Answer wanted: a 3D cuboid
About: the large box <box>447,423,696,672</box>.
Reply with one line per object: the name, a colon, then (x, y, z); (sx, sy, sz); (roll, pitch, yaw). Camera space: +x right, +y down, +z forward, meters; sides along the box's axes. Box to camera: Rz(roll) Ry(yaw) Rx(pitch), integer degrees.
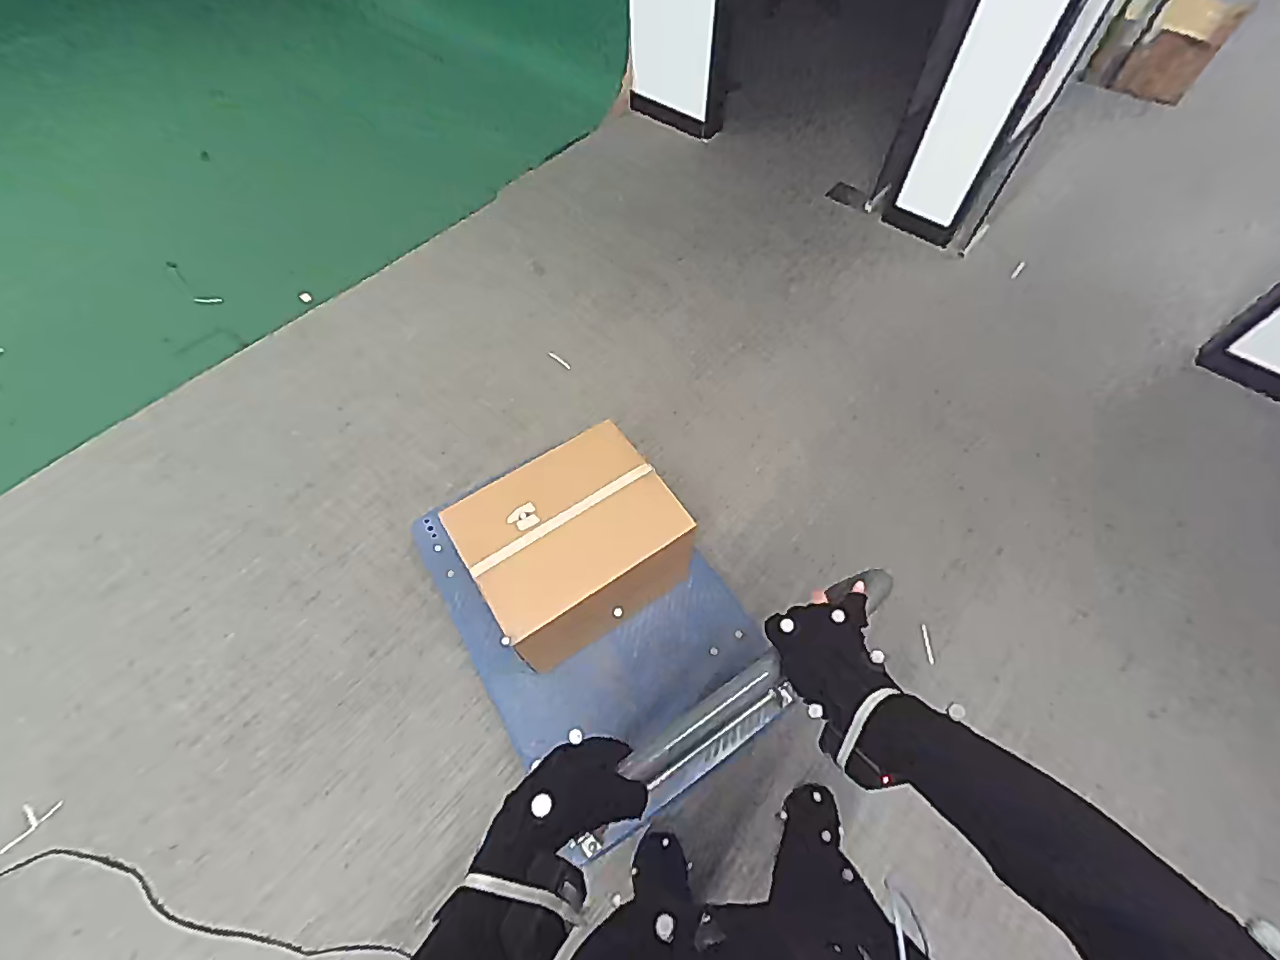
large box: (-0.132, 0.154, 1.188); (0.408, 0.320, 0.320); (-32, 65, -16)
